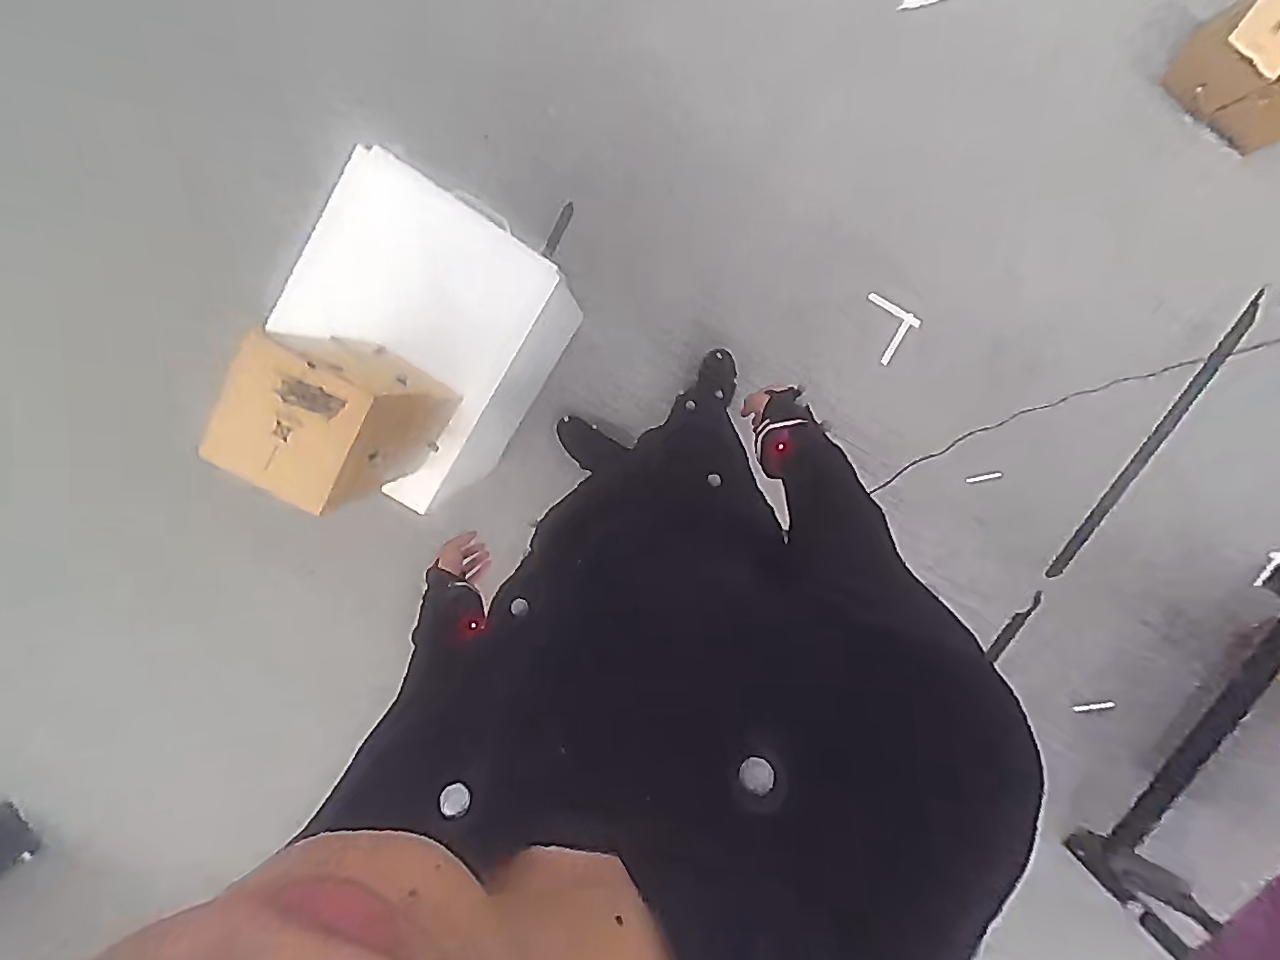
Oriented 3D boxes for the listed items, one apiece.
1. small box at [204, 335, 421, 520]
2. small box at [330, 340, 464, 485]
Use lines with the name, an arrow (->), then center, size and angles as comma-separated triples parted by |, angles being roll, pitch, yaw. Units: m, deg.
small box -> -0.426, -0.076, 0.738 | 0.168, 0.176, 0.179 | 29, 99, -5
small box -> -0.427, -0.109, 0.898 | 0.179, 0.176, 0.168 | 33, 98, -6
